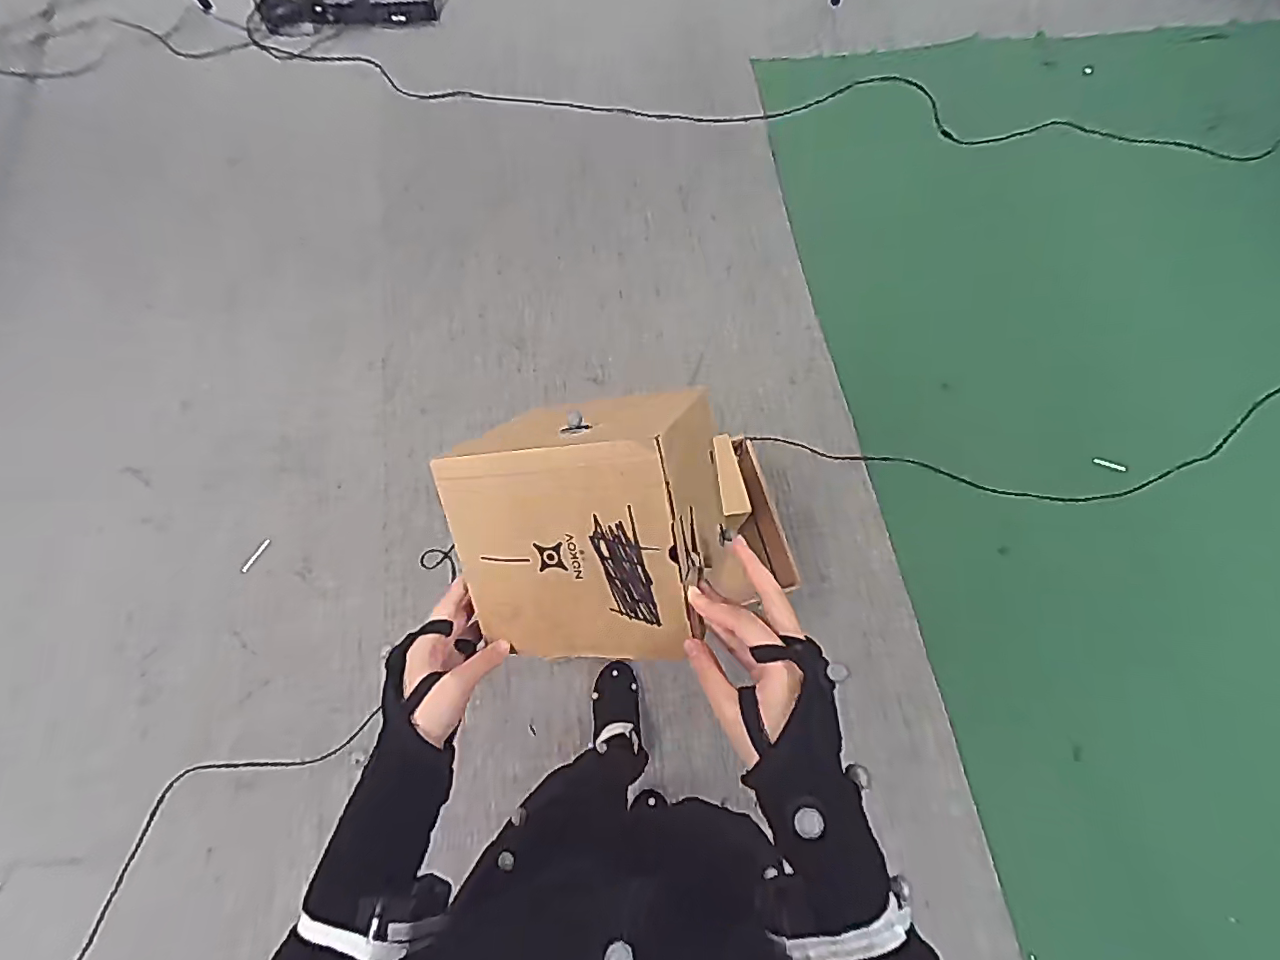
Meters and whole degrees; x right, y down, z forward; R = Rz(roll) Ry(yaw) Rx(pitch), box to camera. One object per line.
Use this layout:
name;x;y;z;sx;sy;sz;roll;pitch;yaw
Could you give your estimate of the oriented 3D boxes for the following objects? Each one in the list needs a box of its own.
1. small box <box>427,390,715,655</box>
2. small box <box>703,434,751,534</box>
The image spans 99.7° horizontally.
small box;-0.037;0.026;0.459;0.179;0.176;0.168;-4;109;20
small box;0.125;0.024;1.177;0.168;0.176;0.179;-12;73;-4
